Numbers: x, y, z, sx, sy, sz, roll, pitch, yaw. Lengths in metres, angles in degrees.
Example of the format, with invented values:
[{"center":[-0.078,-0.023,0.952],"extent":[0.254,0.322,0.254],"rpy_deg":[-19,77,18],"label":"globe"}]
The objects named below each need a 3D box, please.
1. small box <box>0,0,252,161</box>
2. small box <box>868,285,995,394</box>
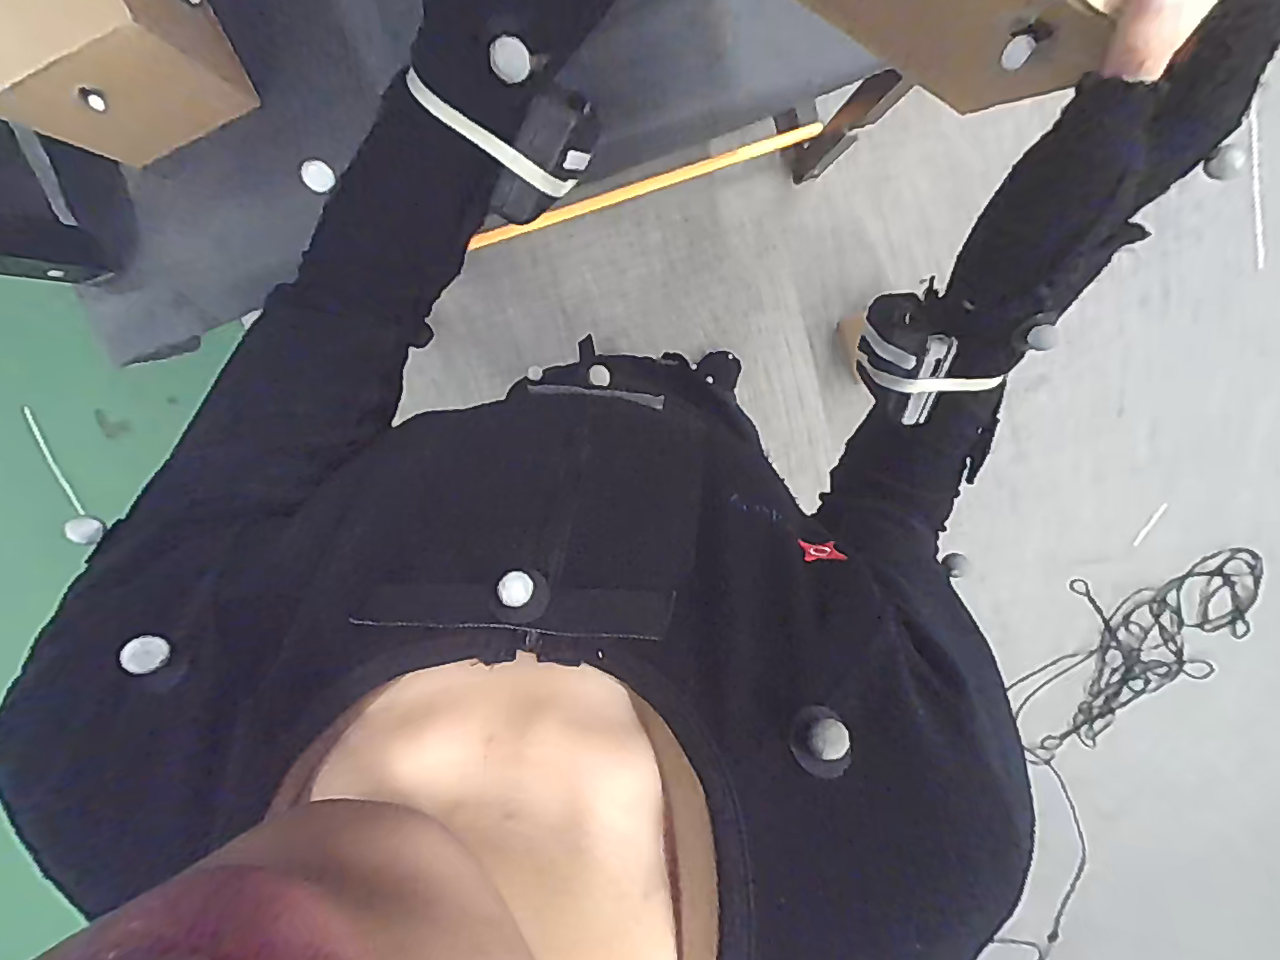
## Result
[{"center":[-0.551,-0.456,0.540],"extent":[0.179,0.176,0.168],"rpy_deg":[-23,103,4],"label":"small box"},{"center":[0.620,-0.299,1.166],"extent":[0.168,0.176,0.179],"rpy_deg":[-19,102,4],"label":"small box"}]
